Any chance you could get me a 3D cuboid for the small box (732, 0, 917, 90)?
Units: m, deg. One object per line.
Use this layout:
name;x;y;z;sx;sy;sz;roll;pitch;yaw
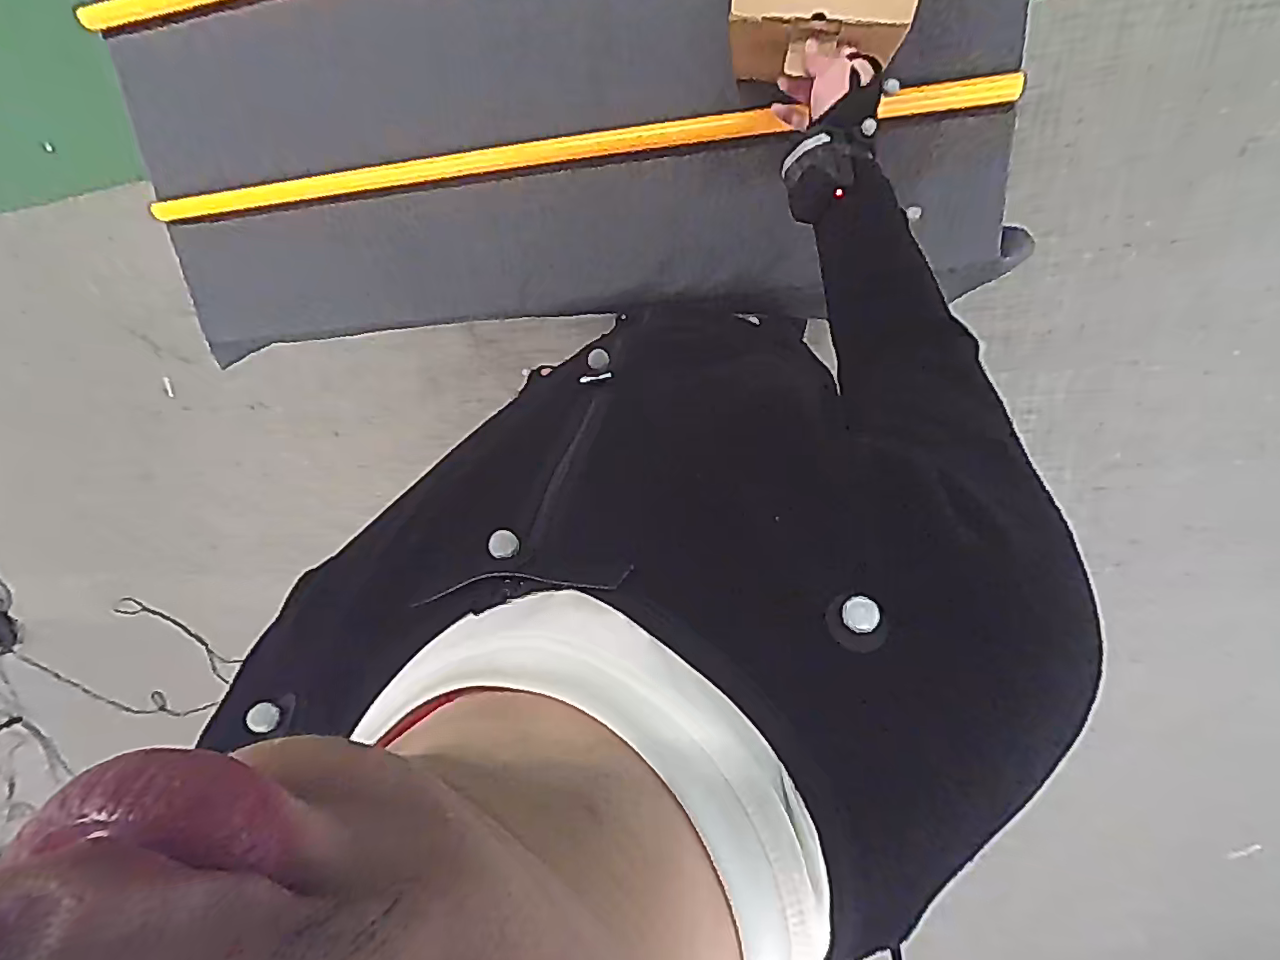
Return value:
small box;0.194;-0.522;0.549;0.168;0.176;0.179;9;111;11
